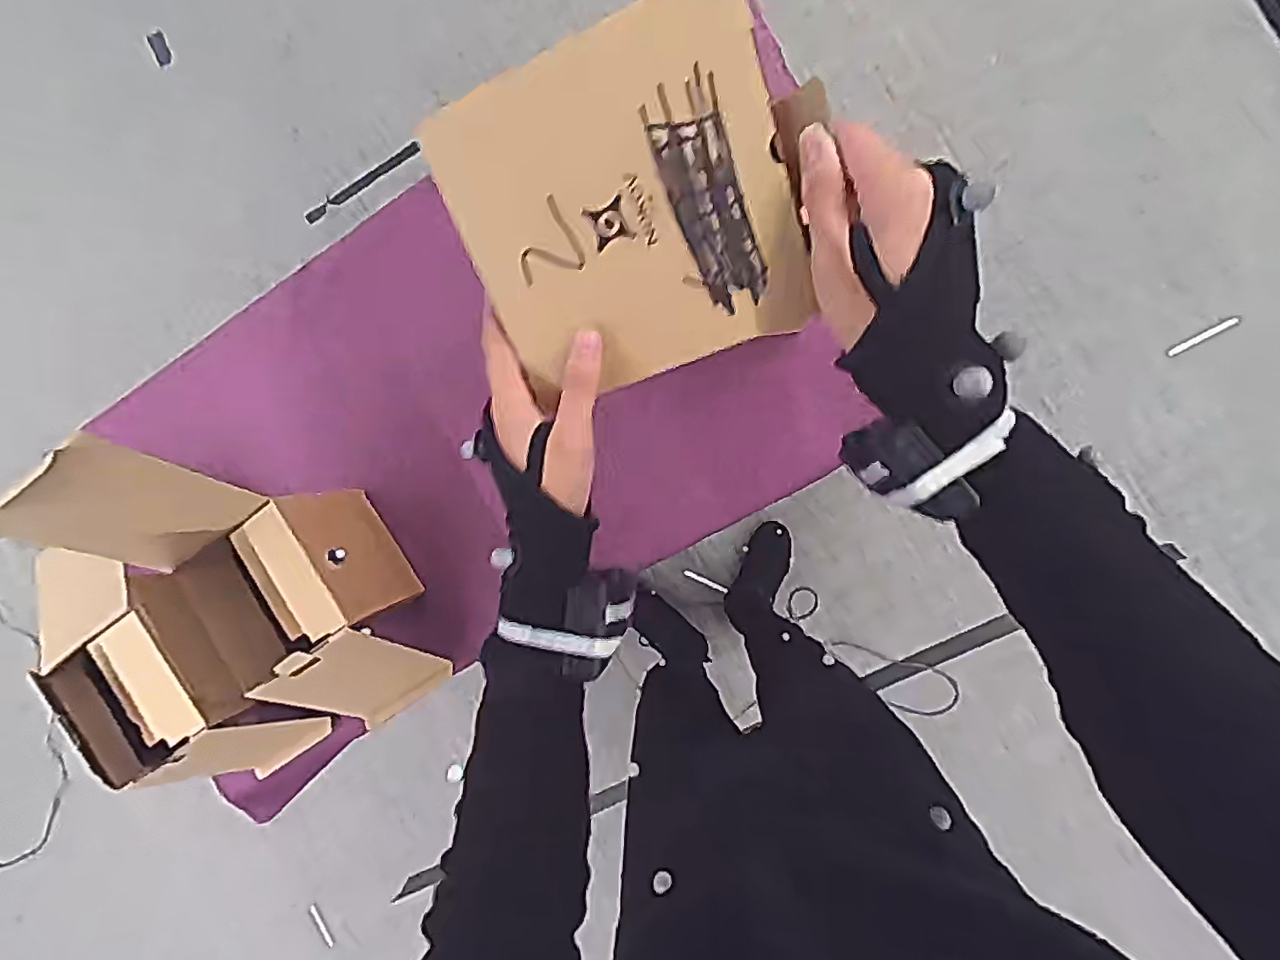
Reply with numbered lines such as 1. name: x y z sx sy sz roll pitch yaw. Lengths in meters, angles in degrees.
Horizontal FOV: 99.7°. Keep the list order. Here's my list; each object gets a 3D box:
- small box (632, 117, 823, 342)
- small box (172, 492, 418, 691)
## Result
1. small box: 0.093 -0.255 0.594 0.179 0.176 0.168 -4 93 10
2. small box: -0.429 0.130 0.703 0.168 0.176 0.179 -33 88 8
